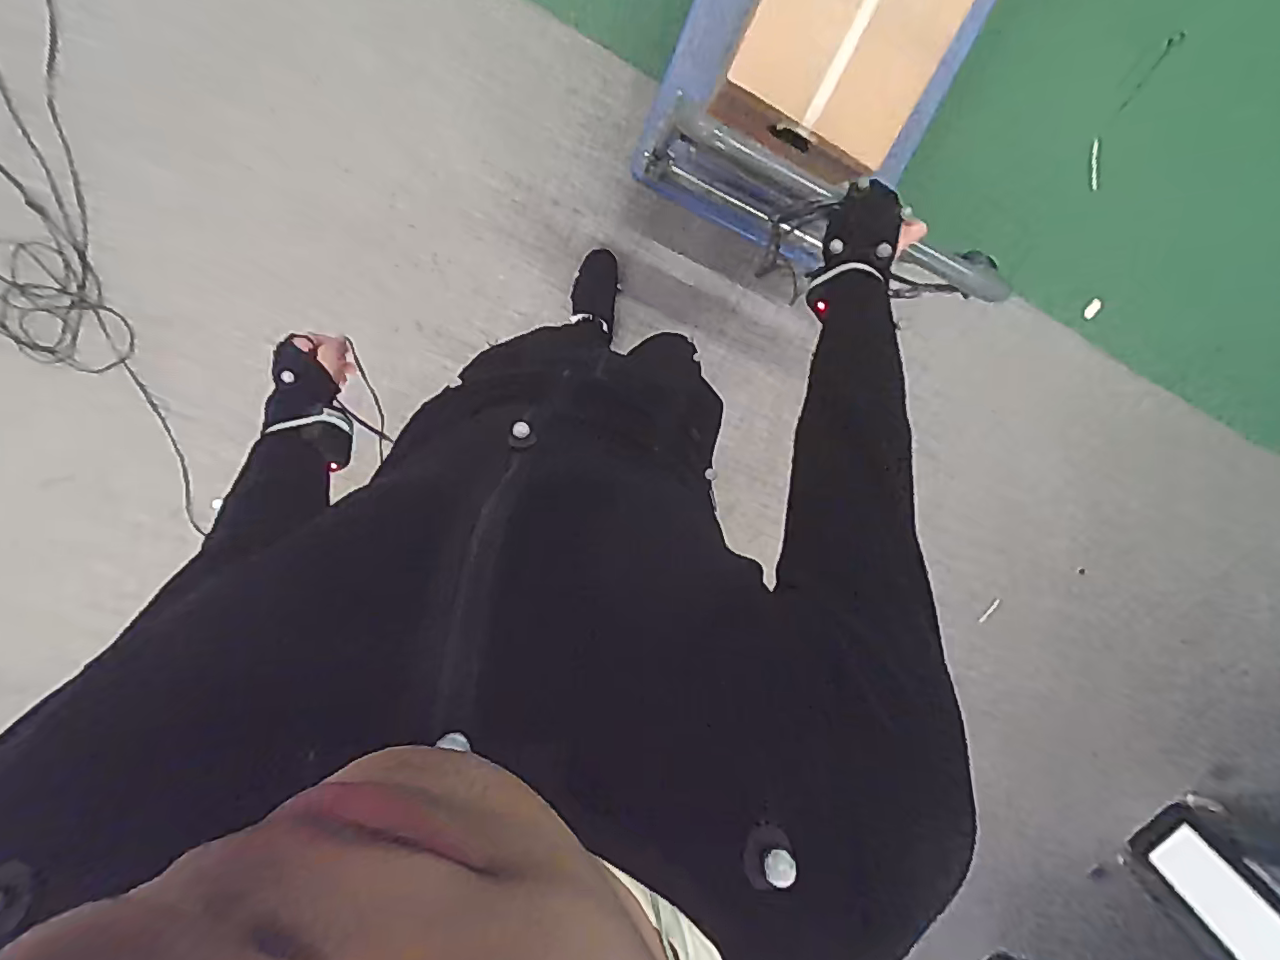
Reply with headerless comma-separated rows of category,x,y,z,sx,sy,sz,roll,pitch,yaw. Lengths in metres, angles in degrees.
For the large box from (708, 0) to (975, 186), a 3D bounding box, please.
large box,0.365,-0.829,0.990,0.320,0.320,0.408,24,109,-13
